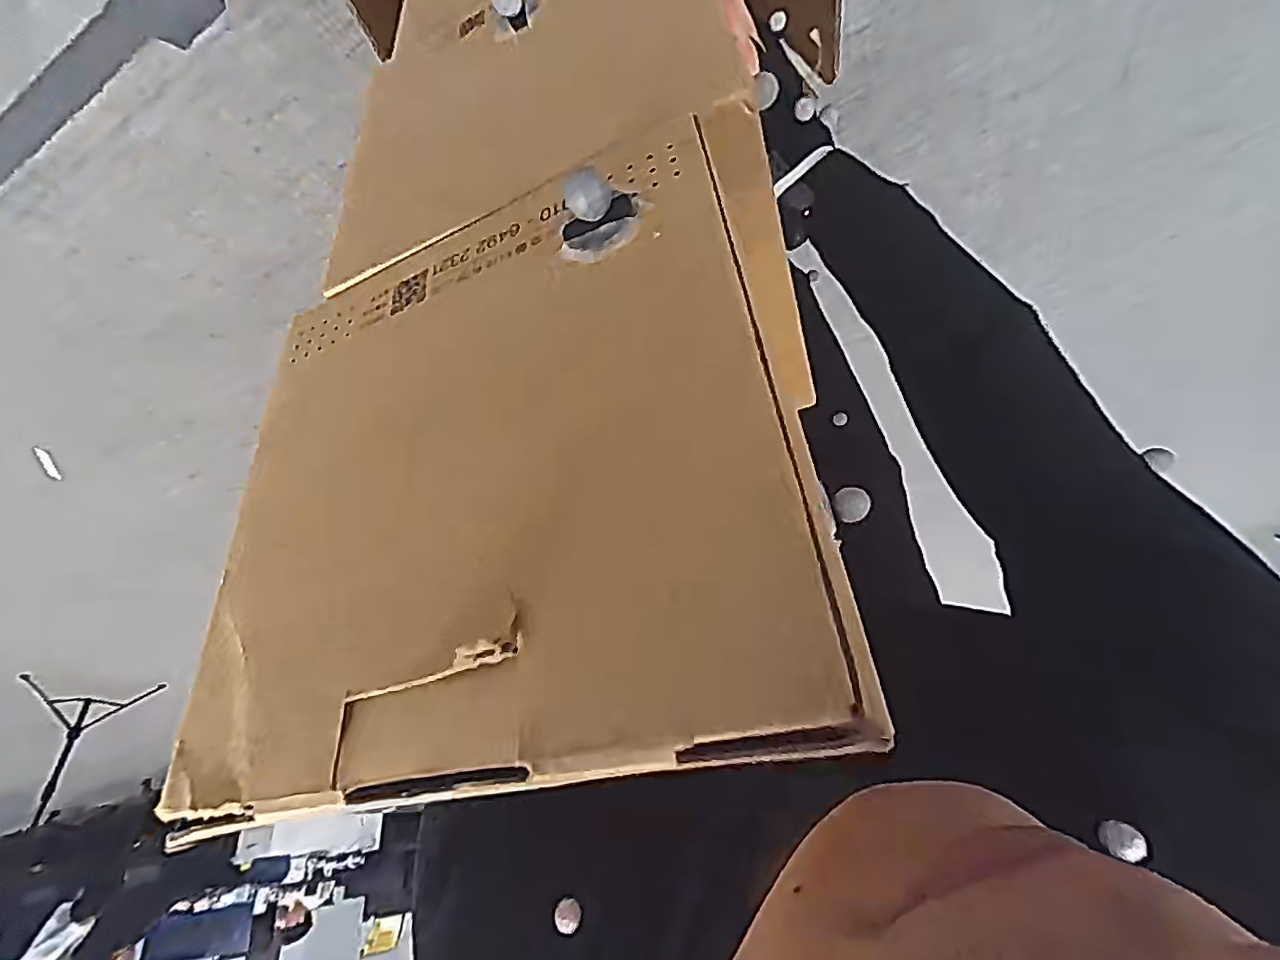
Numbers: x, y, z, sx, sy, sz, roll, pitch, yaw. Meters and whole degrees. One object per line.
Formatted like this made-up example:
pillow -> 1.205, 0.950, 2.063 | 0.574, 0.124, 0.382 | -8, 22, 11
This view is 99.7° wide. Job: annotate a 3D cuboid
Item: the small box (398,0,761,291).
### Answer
small box -> -0.028, -0.270, 0.359 | 0.168, 0.176, 0.179 | -15, 150, 15
